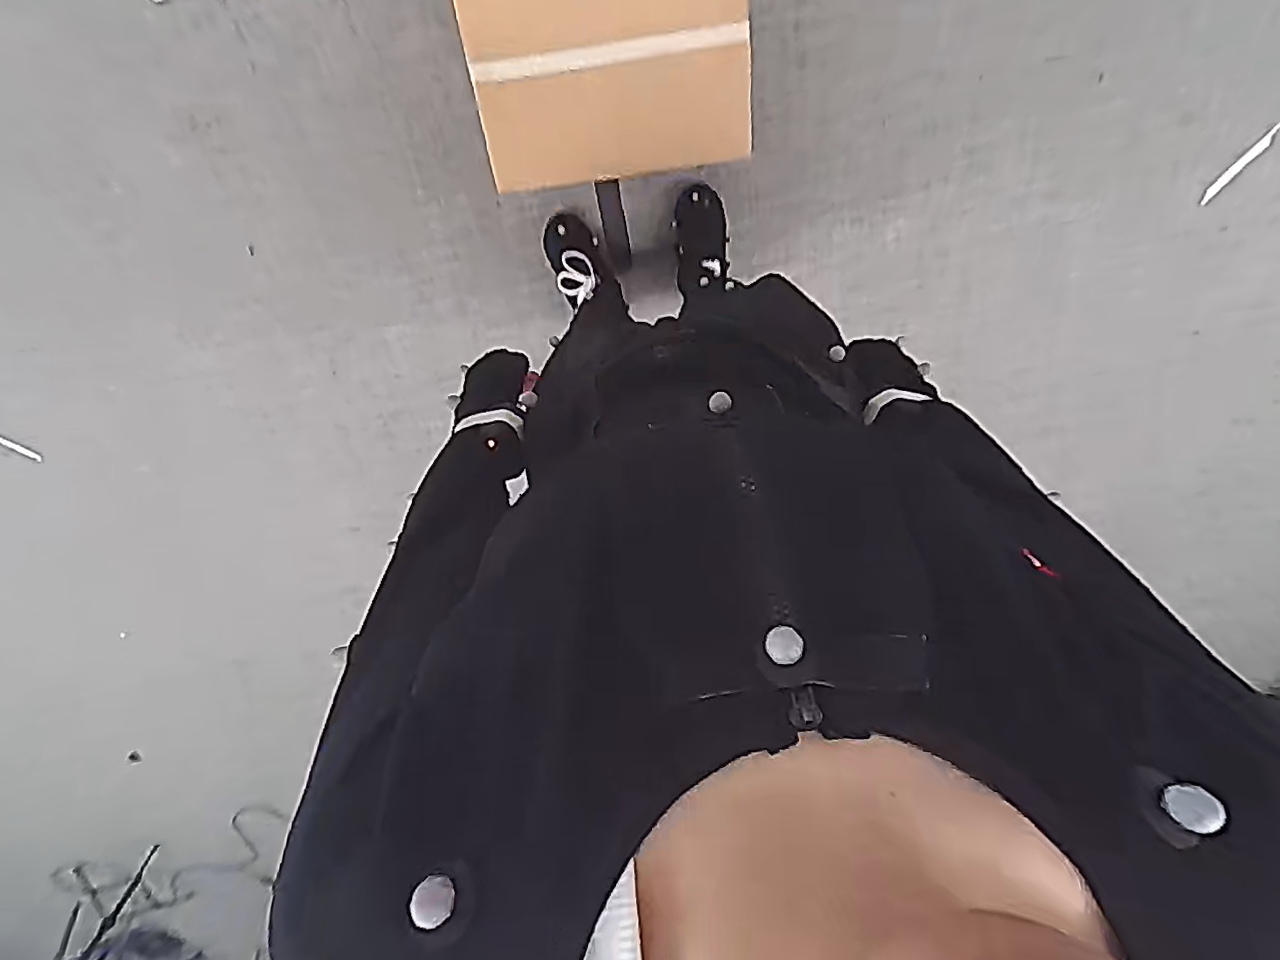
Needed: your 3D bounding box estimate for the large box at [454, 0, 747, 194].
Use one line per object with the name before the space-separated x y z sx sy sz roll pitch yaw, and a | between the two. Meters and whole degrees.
large box | -0.052 -0.690 0.899 0.408 0.320 0.320 -7 121 2
